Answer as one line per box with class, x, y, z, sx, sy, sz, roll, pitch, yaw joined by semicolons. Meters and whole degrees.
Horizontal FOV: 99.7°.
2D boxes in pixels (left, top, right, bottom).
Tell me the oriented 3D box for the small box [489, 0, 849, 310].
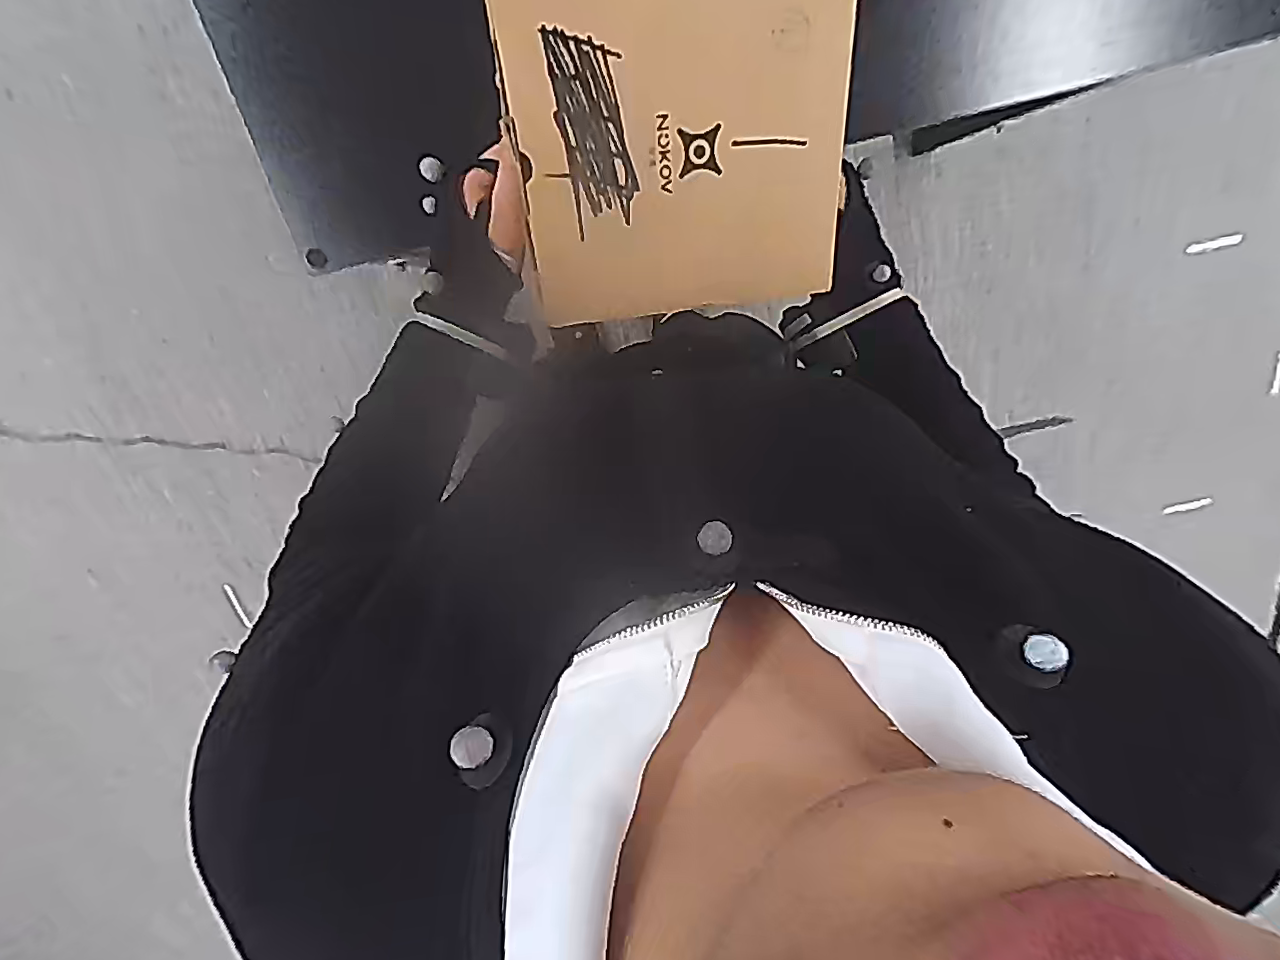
small box;0.013;-0.222;0.356;0.179;0.176;0.168;-8;122;-3
